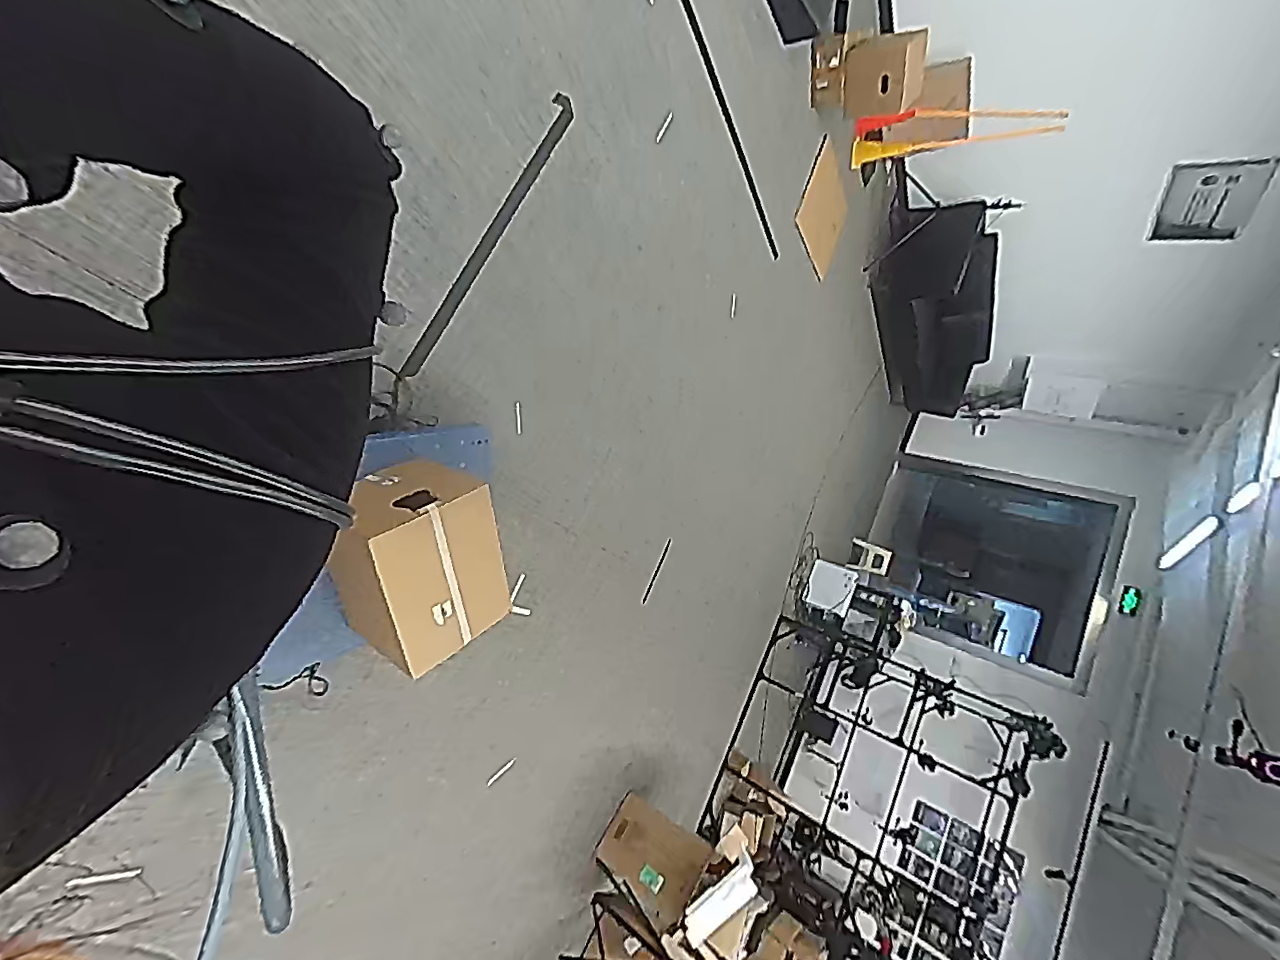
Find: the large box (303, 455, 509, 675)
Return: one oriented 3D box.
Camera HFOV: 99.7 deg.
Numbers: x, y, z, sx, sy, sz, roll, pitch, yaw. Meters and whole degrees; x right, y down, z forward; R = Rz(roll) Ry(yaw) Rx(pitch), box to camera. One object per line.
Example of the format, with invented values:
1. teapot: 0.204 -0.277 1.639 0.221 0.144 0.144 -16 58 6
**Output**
1. large box: -0.584 0.198 1.386 0.320 0.320 0.408 -31 128 -44
